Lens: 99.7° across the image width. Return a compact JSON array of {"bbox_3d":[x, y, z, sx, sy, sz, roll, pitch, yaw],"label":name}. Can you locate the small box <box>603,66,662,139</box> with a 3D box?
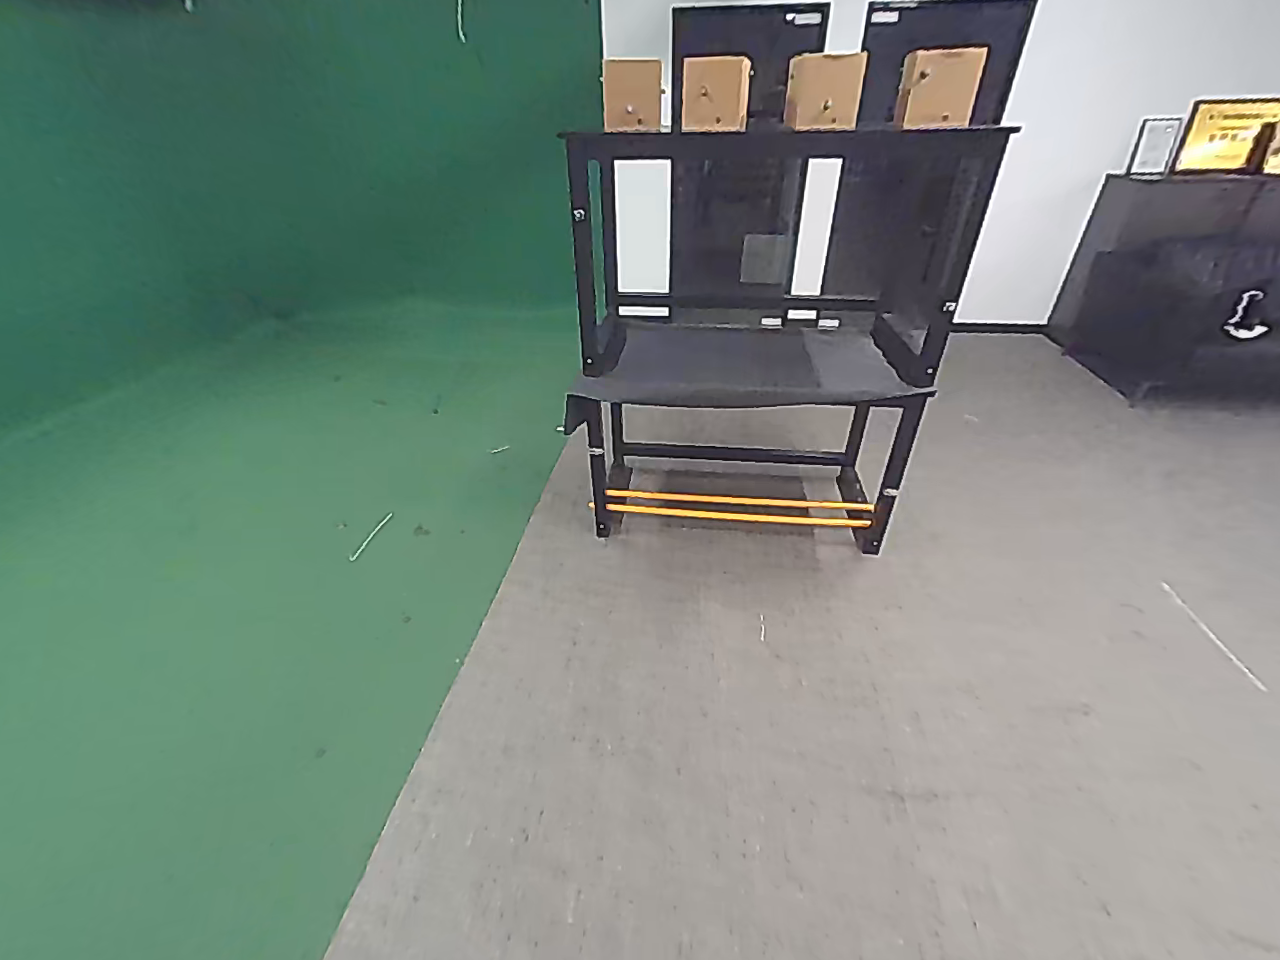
[{"bbox_3d":[-0.021,-1.125,1.614,0.168,0.176,0.179,-1,34,0],"label":"small box"}]

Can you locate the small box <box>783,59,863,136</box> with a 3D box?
[{"bbox_3d":[0.509,-1.079,1.532,0.168,0.176,0.179,0,34,2],"label":"small box"}]
